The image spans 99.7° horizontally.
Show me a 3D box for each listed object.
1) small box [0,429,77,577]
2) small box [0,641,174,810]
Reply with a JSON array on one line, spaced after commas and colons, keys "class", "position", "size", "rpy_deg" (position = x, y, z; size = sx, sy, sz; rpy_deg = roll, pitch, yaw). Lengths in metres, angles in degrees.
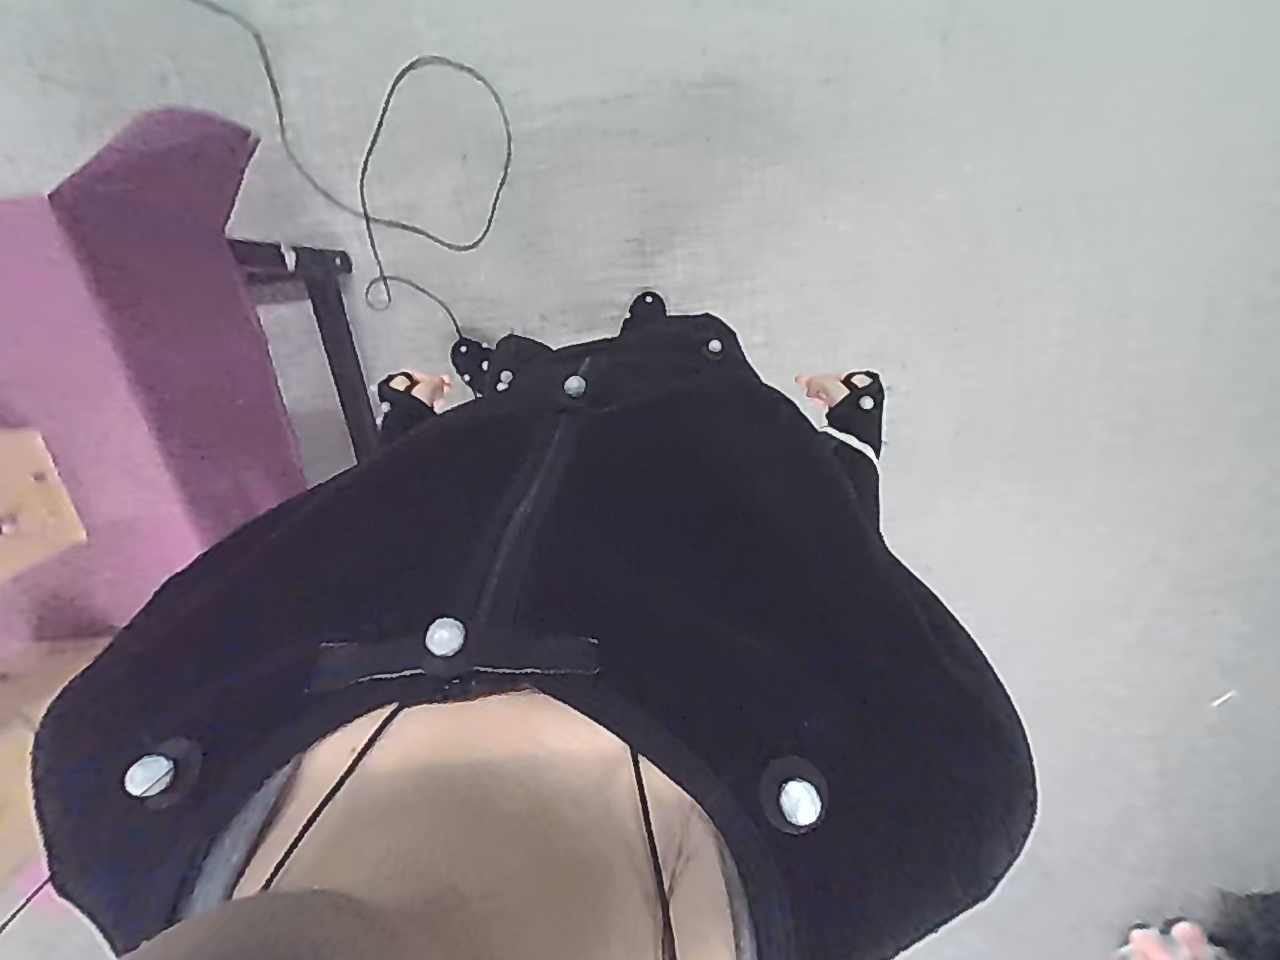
[{"class": "small box", "position": [-0.880, 0.037, 0.679], "size": [0.179, 0.176, 0.168], "rpy_deg": [-4, 110, 1]}, {"class": "small box", "position": [-0.851, 0.352, 0.791], "size": [0.168, 0.176, 0.179], "rpy_deg": [-5, 110, 2]}]
